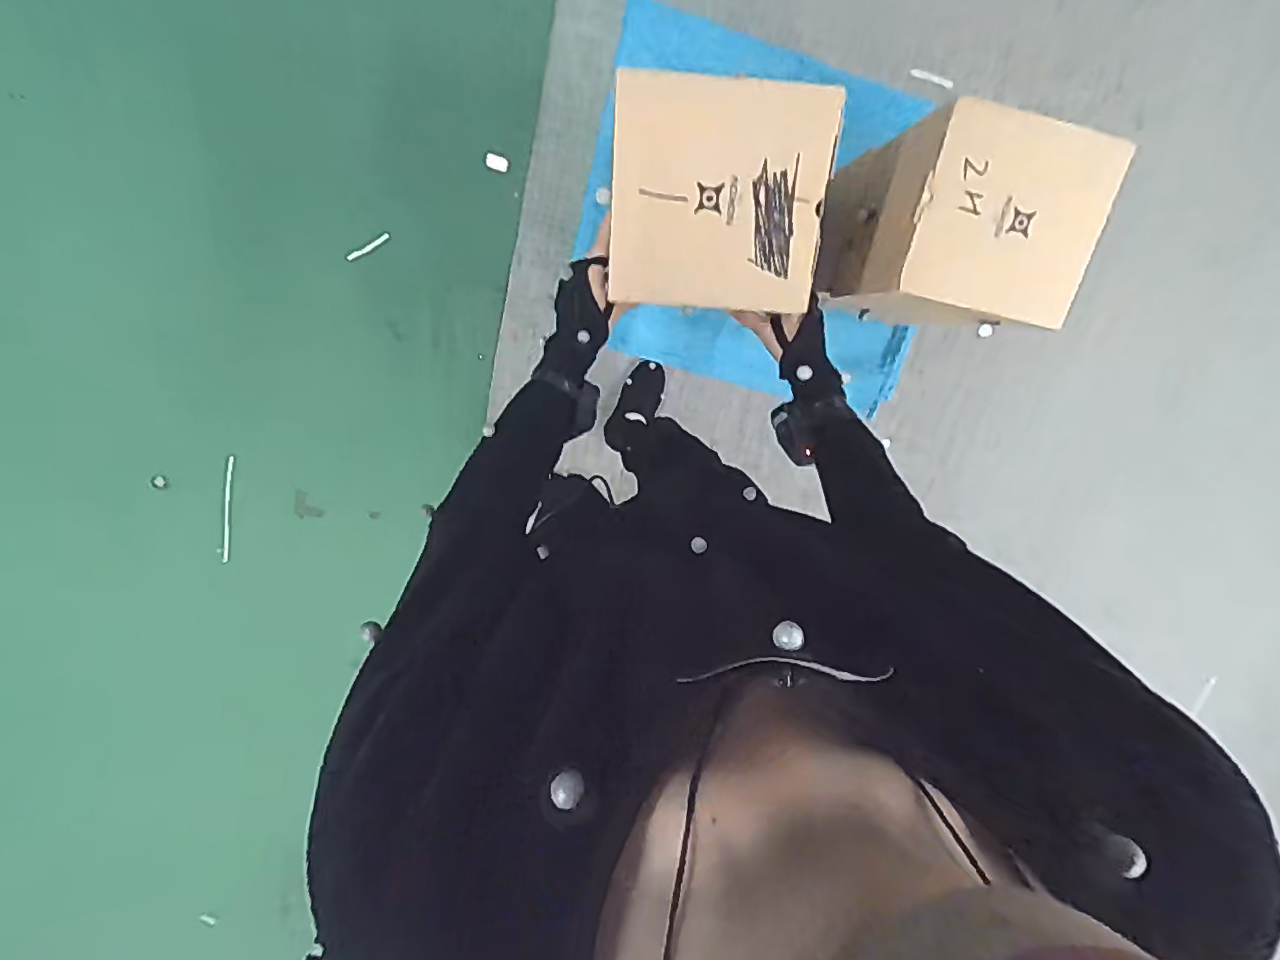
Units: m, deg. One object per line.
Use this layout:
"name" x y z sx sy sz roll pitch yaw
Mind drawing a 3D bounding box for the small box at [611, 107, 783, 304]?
"small box" 0.055 -0.315 0.645 0.168 0.176 0.179 4 112 -3
